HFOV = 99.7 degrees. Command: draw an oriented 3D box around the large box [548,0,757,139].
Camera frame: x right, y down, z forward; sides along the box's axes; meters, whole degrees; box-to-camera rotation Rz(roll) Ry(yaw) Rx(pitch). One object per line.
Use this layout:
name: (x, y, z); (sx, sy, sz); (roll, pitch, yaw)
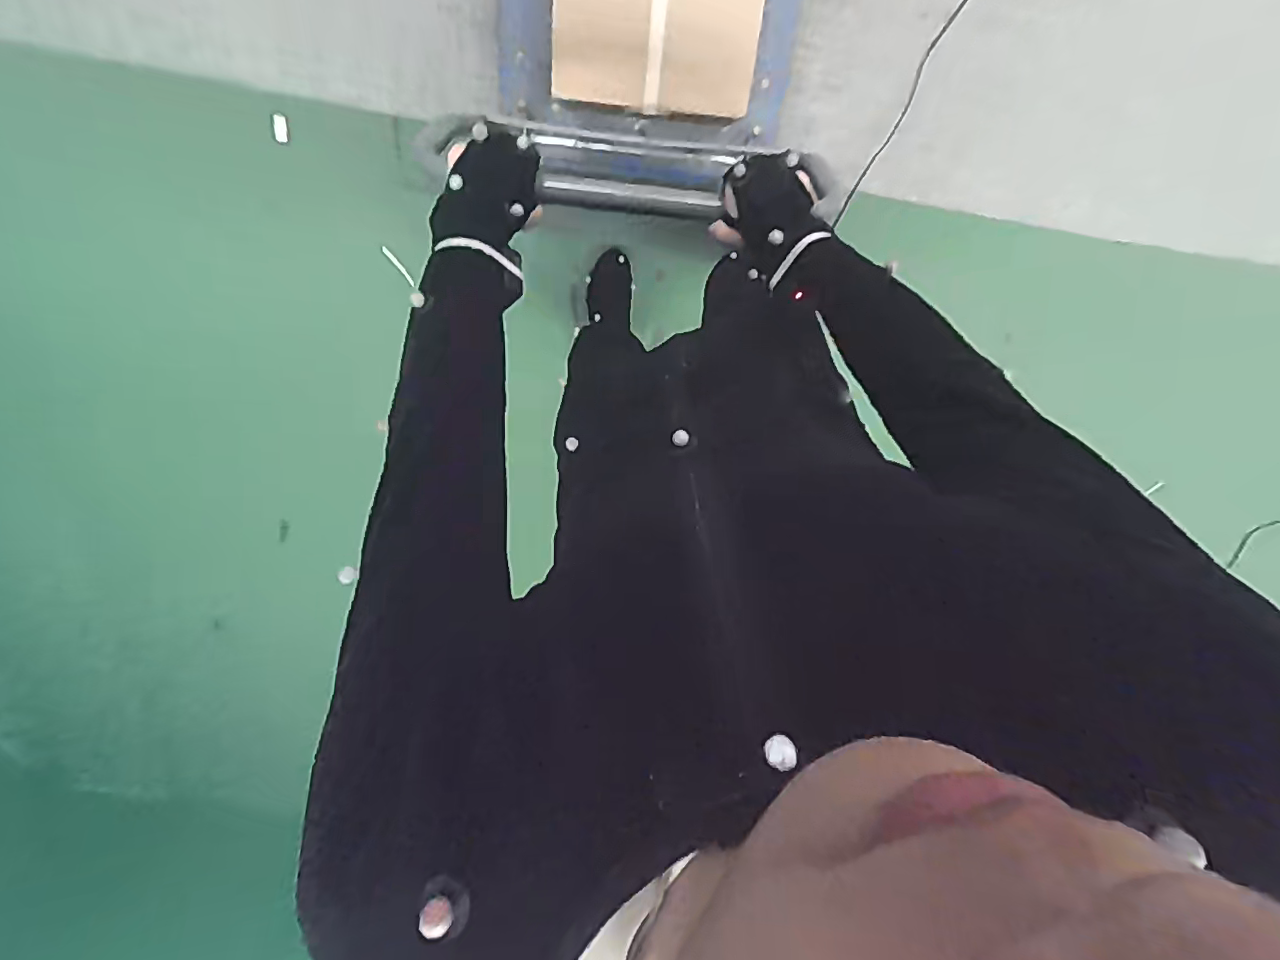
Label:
large box: (0.026, -0.829, 0.912); (0.320, 0.320, 0.408); (5, 119, -2)
